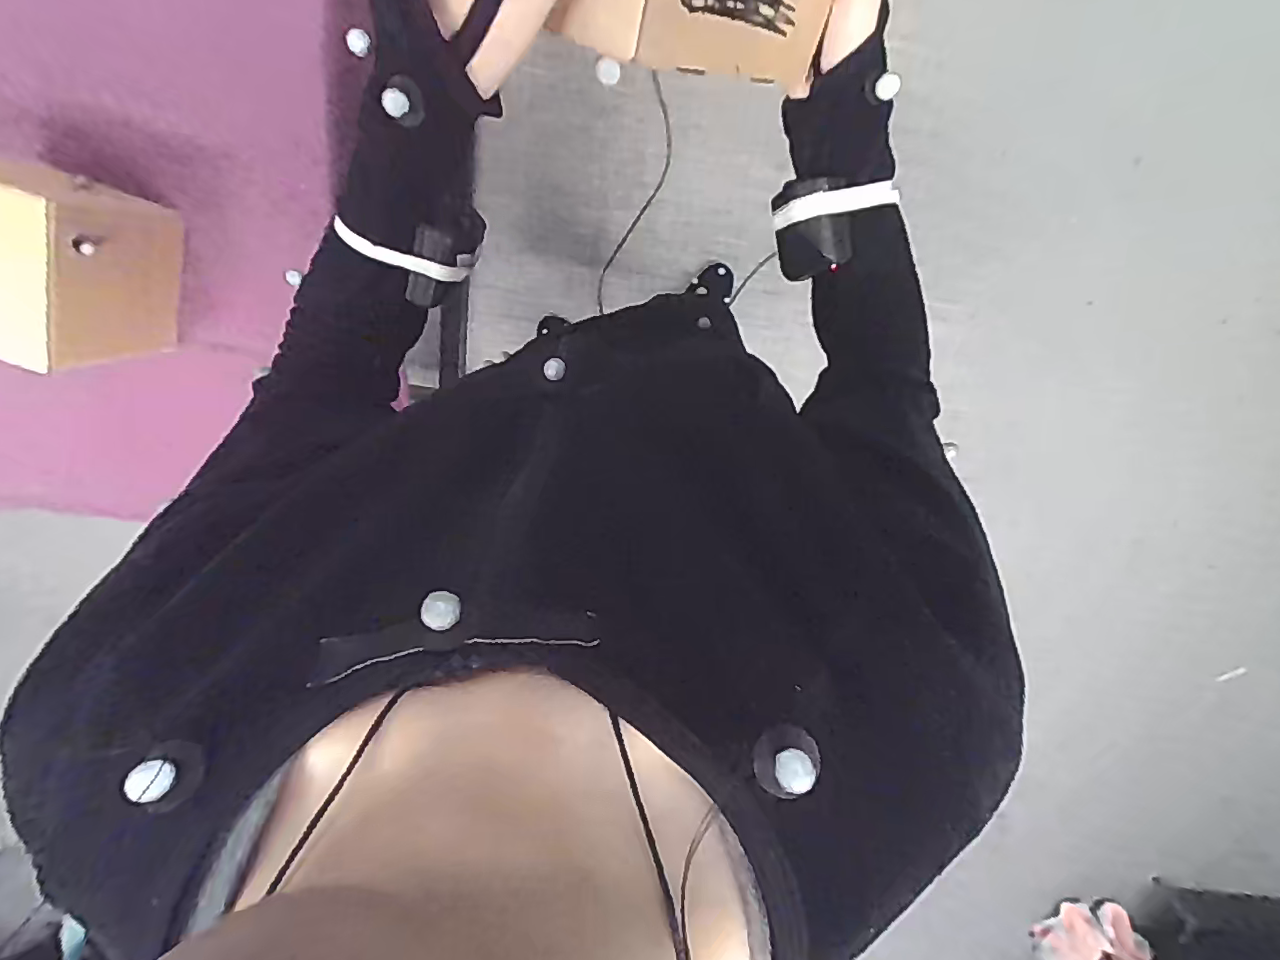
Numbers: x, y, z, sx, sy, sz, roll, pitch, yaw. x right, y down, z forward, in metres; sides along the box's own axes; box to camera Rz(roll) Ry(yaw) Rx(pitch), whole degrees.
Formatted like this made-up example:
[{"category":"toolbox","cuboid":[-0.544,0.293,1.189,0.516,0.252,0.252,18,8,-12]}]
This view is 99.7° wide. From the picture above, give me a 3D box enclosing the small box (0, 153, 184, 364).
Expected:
[{"category":"small box","cuboid":[-0.659,-0.249,0.604,0.168,0.176,0.179,19,107,-7]}]
